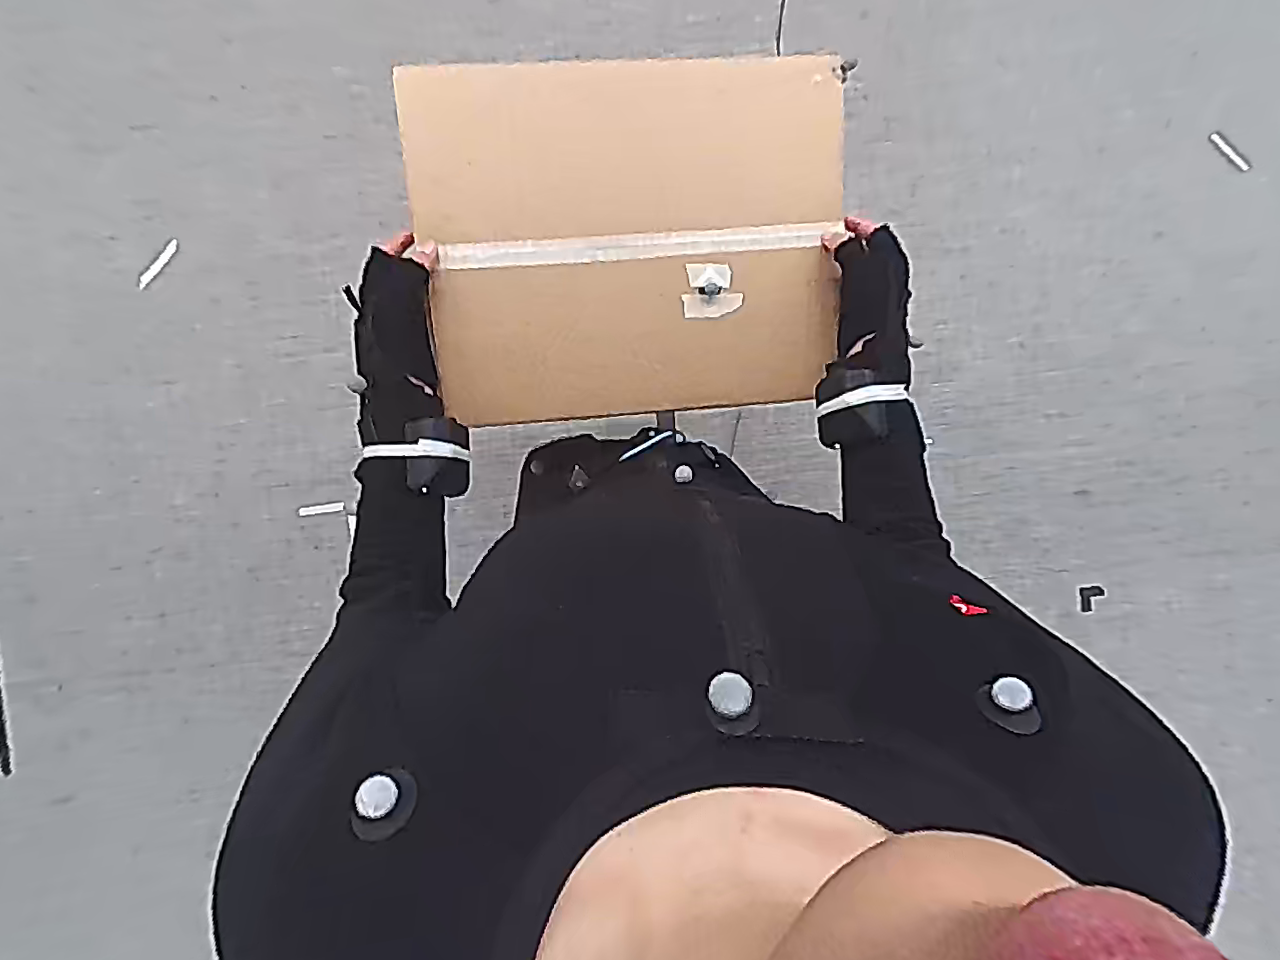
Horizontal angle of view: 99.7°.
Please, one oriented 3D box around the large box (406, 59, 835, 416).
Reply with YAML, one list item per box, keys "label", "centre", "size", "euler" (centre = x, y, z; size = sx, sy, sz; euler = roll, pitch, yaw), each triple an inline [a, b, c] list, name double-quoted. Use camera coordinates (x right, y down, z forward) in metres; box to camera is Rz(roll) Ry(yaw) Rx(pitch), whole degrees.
- label: "large box"
  centre: [-0.019, -0.259, 0.670]
  size: [0.408, 0.320, 0.320]
  euler: [-5, 102, -5]
